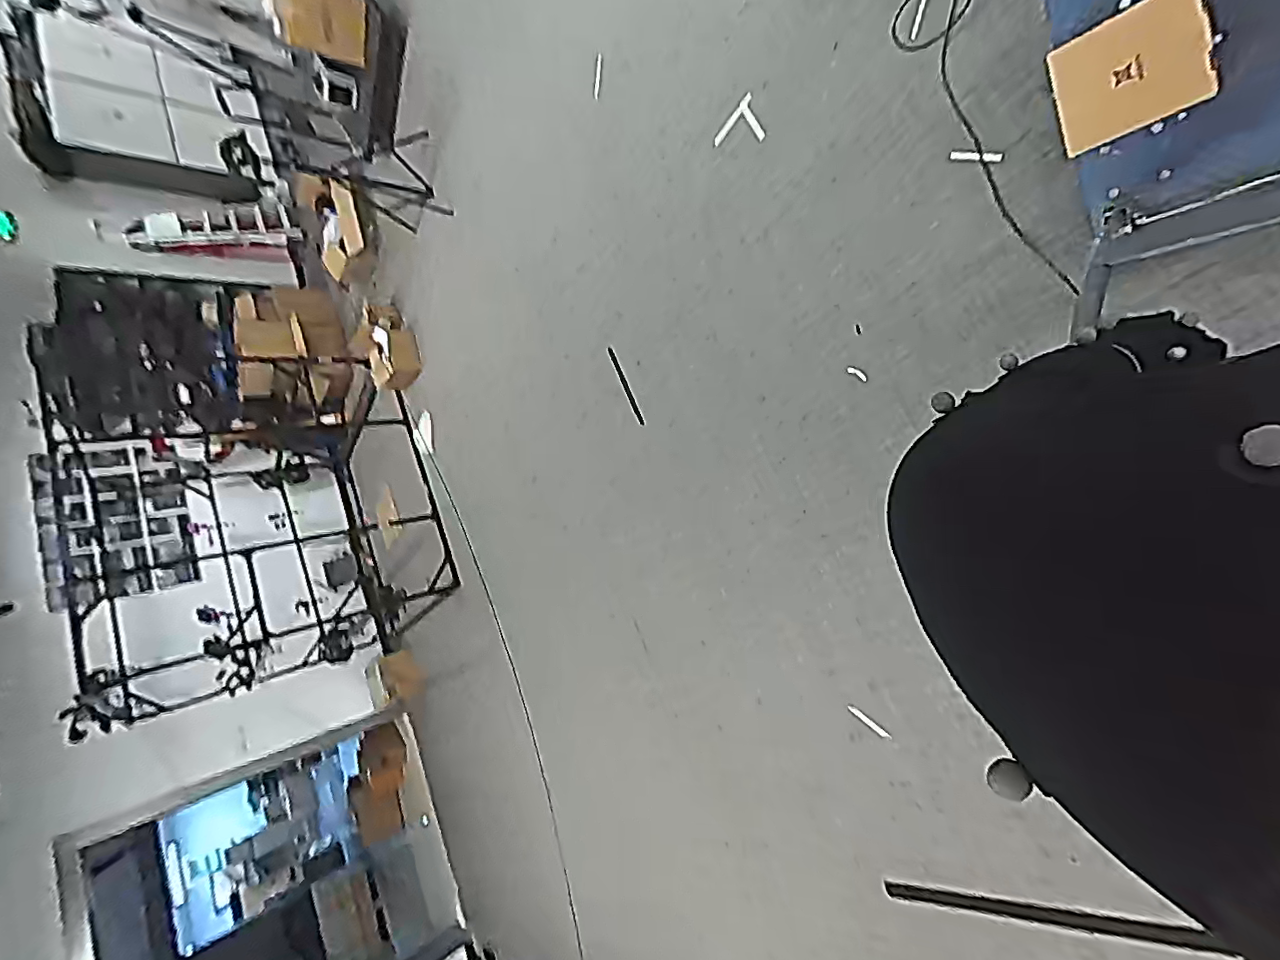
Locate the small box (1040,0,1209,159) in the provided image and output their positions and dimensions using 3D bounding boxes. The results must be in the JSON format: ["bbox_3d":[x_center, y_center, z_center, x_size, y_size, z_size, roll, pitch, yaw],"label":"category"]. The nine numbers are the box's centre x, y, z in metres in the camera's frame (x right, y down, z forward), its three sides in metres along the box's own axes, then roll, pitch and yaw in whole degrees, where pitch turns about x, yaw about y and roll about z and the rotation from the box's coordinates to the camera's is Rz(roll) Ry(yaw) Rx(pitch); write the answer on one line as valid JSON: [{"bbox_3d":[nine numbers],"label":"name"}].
[{"bbox_3d":[0.782,-0.651,0.871,0.179,0.176,0.168,-10,112,48],"label":"small box"}]
